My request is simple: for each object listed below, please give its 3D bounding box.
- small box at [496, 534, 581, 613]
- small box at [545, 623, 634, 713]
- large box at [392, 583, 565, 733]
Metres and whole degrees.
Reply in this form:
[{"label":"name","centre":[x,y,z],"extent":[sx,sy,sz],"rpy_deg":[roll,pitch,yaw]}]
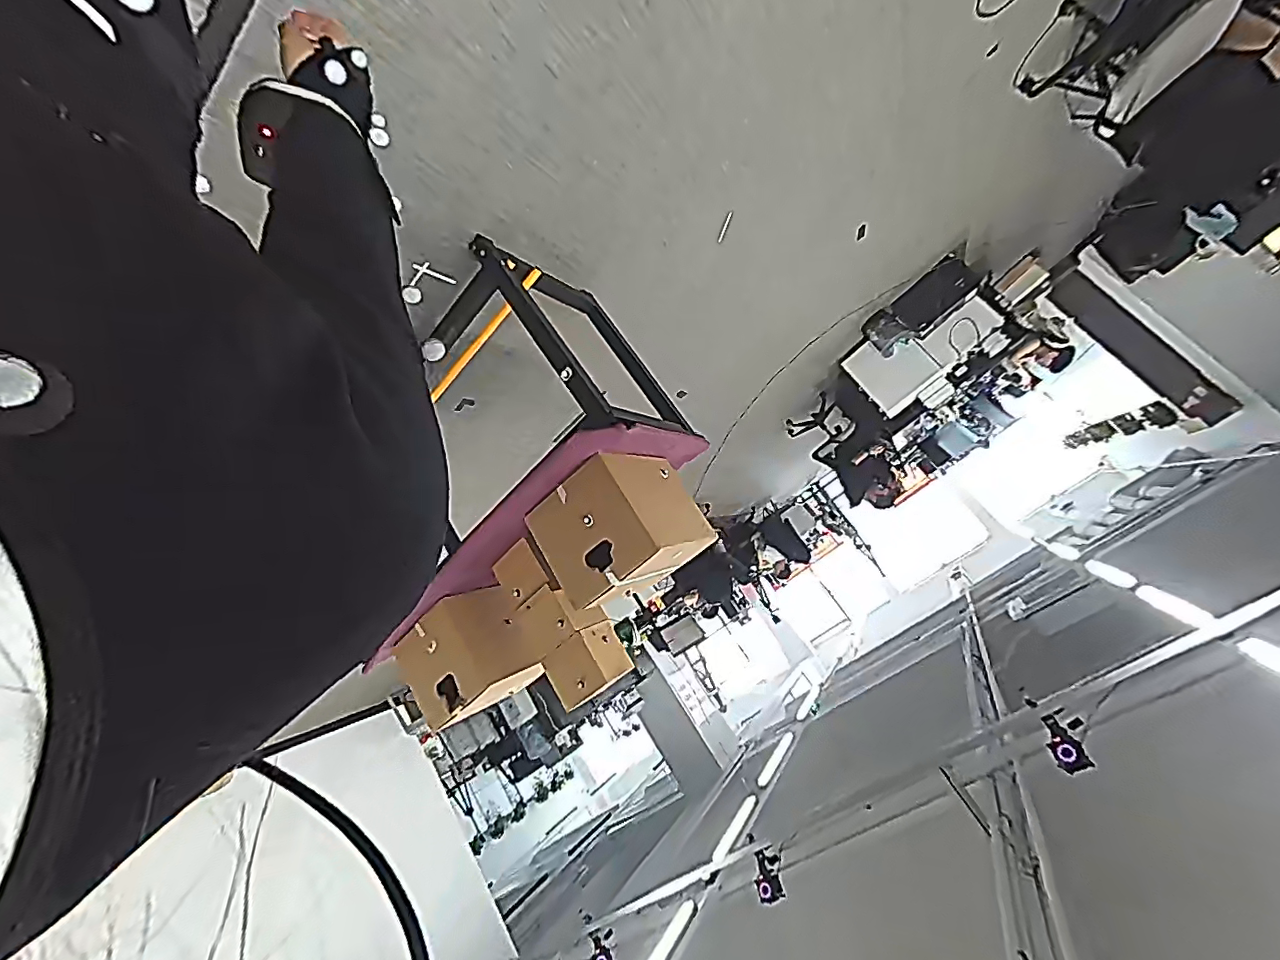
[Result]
[{"label":"small box","centre":[-0.326,0.289,1.704],"extent":[0.179,0.176,0.168],"rpy_deg":[-43,161,22]},{"label":"small box","centre":[-0.157,0.549,1.598],"extent":[0.179,0.176,0.168],"rpy_deg":[-42,161,20]},{"label":"large box","centre":[-0.535,0.570,1.829],"extent":[0.320,0.320,0.408],"rpy_deg":[-42,162,22]}]
